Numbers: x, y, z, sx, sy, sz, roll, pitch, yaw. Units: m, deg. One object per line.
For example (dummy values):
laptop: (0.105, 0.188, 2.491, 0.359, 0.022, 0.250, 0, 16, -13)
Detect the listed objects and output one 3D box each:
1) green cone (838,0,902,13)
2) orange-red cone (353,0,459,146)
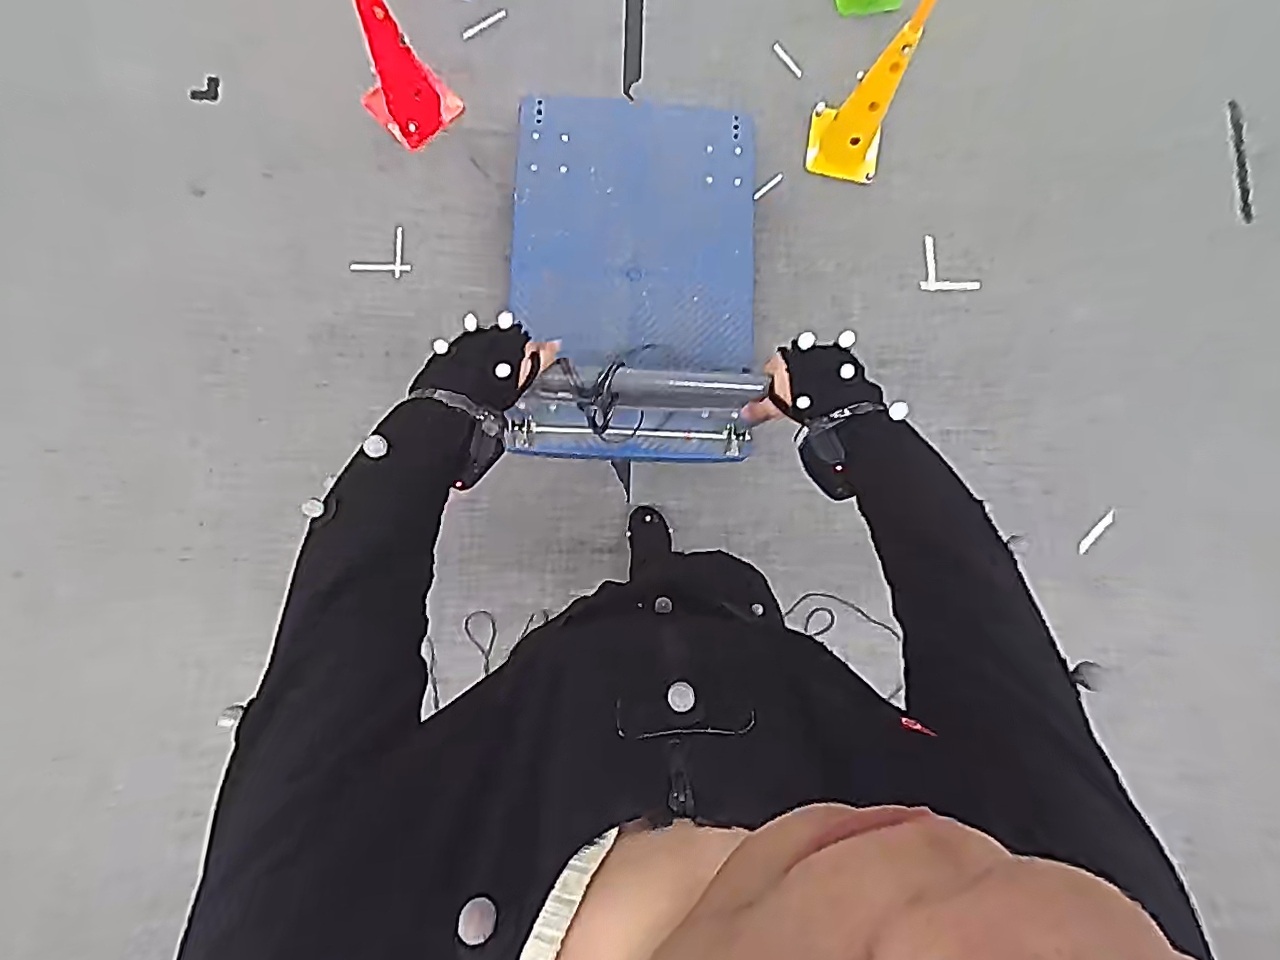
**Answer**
green cone: (0.669, -1.476, 1.405, 0.200, 0.368, 0.202, -12, 87, -5)
orange-red cone: (-0.594, -1.024, 1.270, 0.199, 0.360, 0.198, -44, 90, -8)
